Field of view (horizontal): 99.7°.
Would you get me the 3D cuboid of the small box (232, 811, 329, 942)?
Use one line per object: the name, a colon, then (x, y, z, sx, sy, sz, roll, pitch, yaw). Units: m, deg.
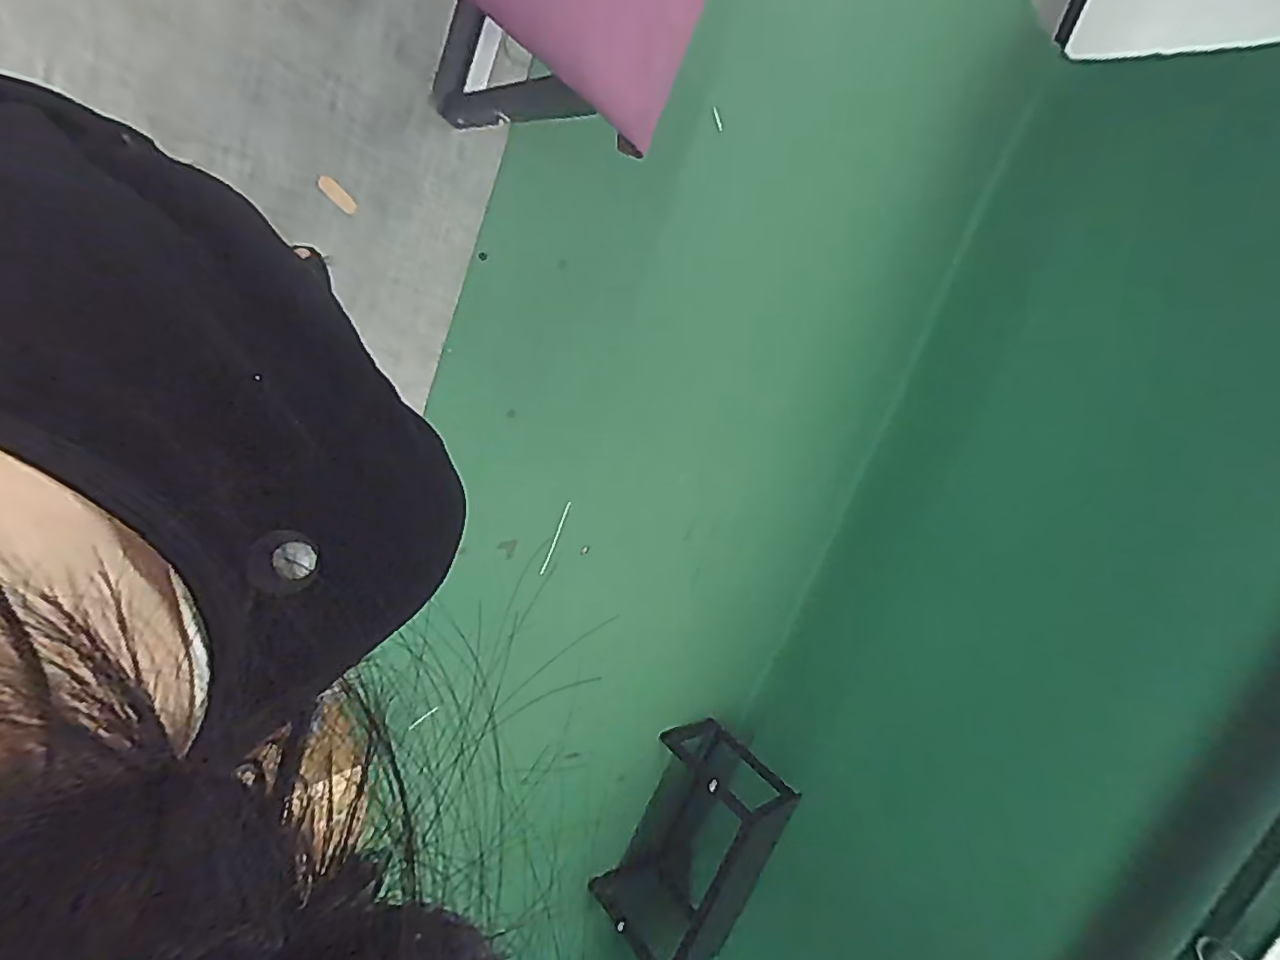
small box: (-0.917, 0.993, 1.375, 0.179, 0.176, 0.168, -4, 113, -43)

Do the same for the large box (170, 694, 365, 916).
large box: (-1.058, 0.898, 1.555, 0.408, 0.320, 0.320, -9, 119, -43)
